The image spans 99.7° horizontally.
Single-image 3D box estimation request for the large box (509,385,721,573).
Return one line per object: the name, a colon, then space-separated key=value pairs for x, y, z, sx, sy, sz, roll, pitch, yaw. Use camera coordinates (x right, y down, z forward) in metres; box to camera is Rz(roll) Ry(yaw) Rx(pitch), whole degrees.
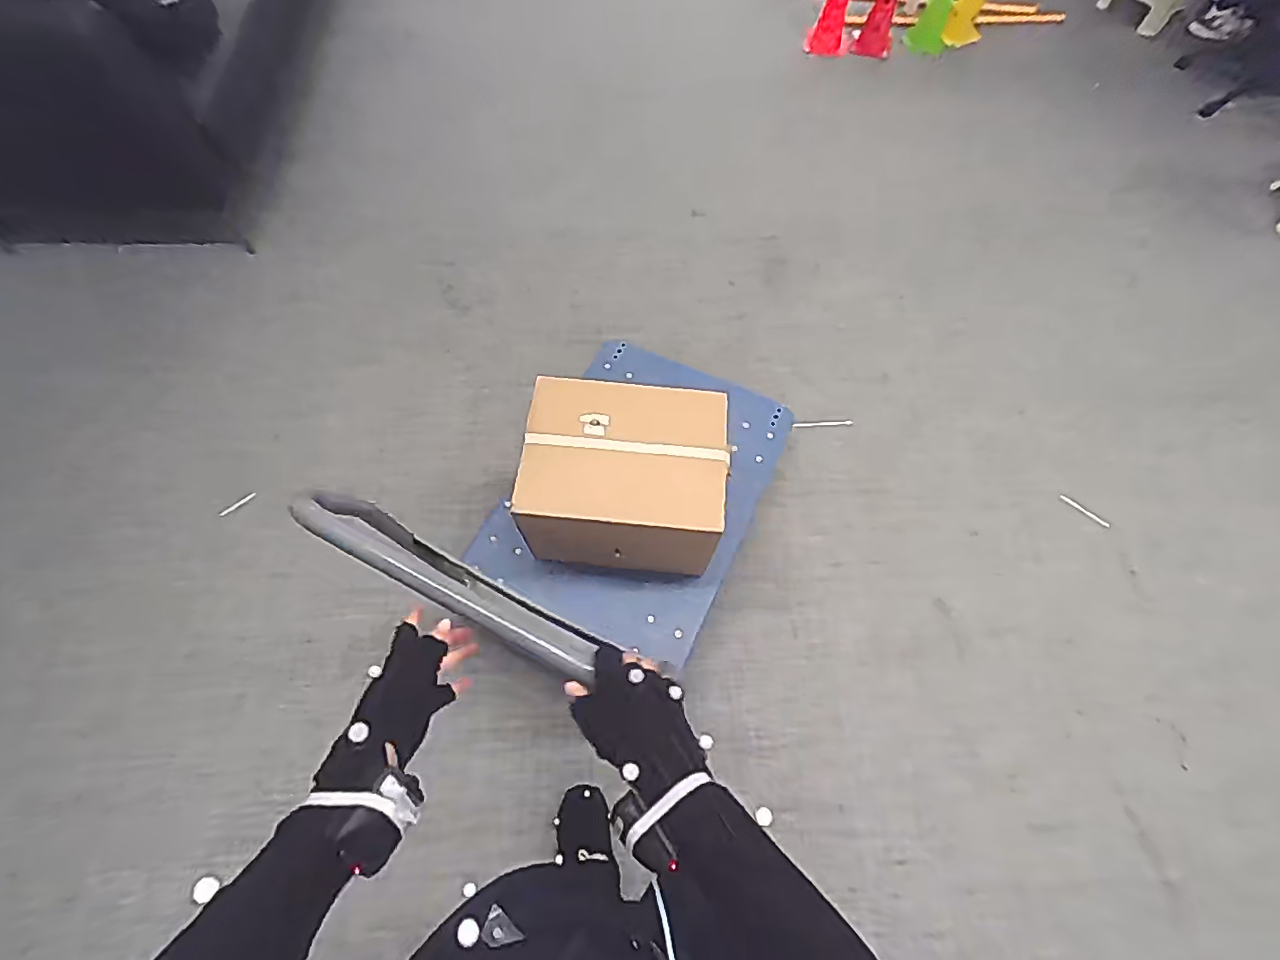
large box: x=-0.038 y=0.011 z=1.217 sx=0.408 sy=0.320 sz=0.320 roll=6 pitch=66 yaw=2
